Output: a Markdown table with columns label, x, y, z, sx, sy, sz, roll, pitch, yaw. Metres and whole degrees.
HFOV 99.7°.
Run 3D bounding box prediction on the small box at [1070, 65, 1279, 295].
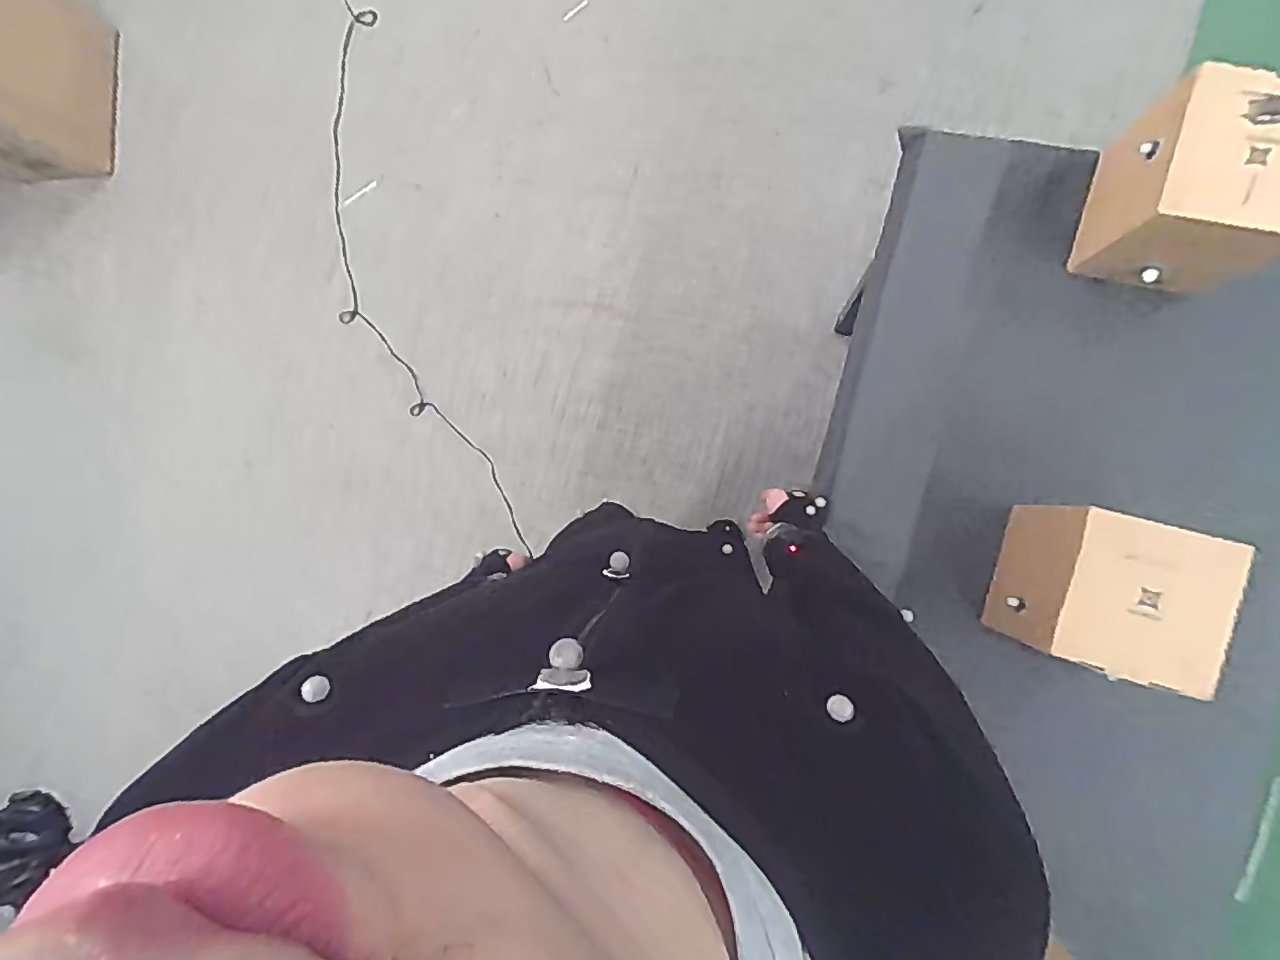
| label | x | y | z | sx | sy | sz | roll | pitch | yaw |
| --- | --- | --- | --- | --- | --- | --- | --- | --- | --- |
| small box | 0.689 | -0.357 | 0.673 | 0.168 | 0.176 | 0.179 | 16 | 92 | 8 |

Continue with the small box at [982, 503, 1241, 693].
| label | x | y | z | sx | sy | sz | roll | pitch | yaw |
| --- | --- | --- | --- | --- | --- | --- | --- | --- | --- |
| small box | 0.569 | 0.134 | 0.682 | 0.168 | 0.176 | 0.179 | 15 | 89 | 7 |
